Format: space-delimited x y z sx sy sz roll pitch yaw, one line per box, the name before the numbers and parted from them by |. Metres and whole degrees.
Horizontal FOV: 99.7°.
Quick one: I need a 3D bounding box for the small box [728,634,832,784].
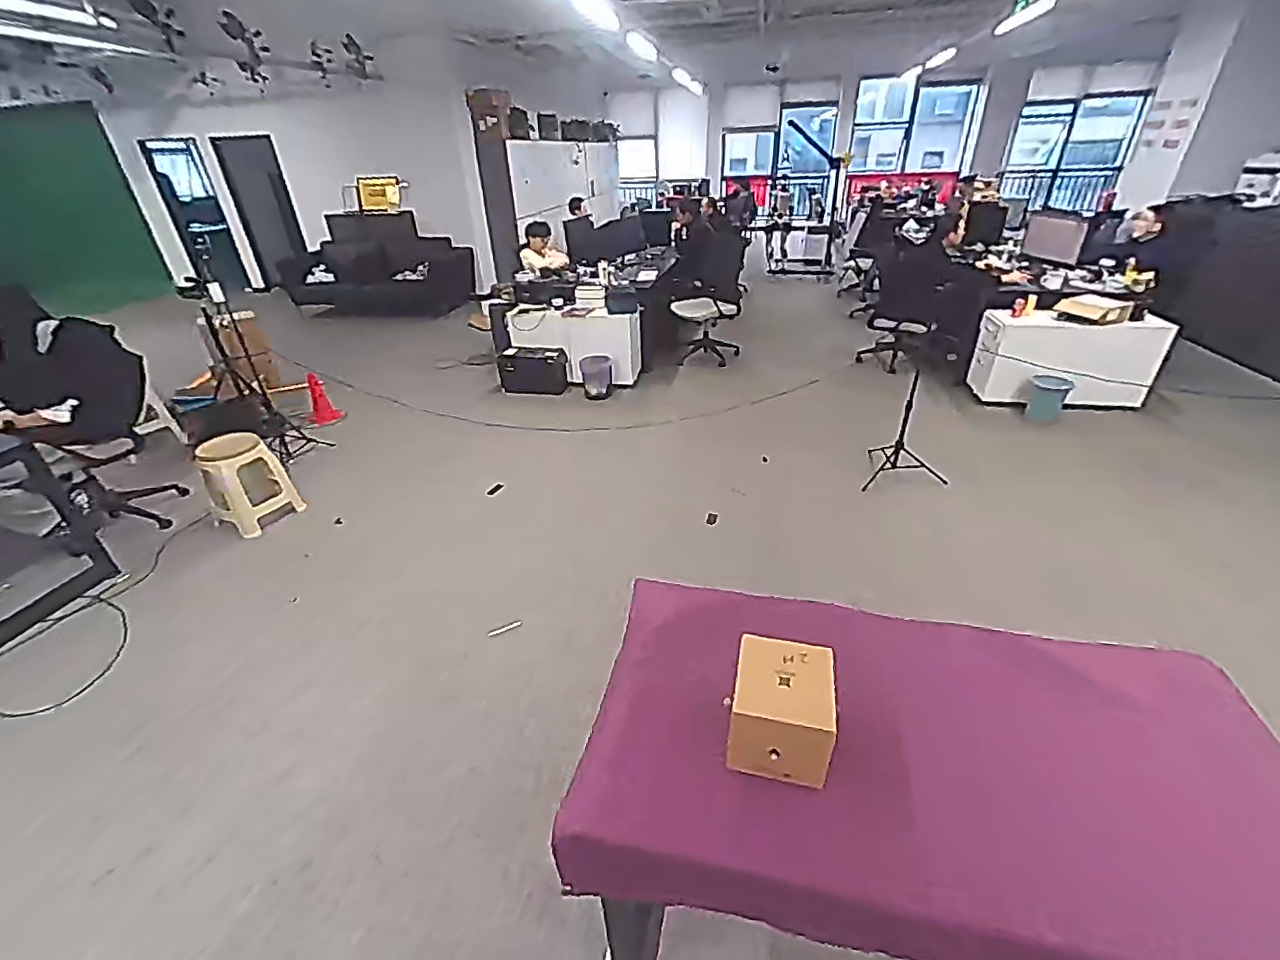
small box | 0.253 0.415 0.985 0.168 0.176 0.179 7 32 13
